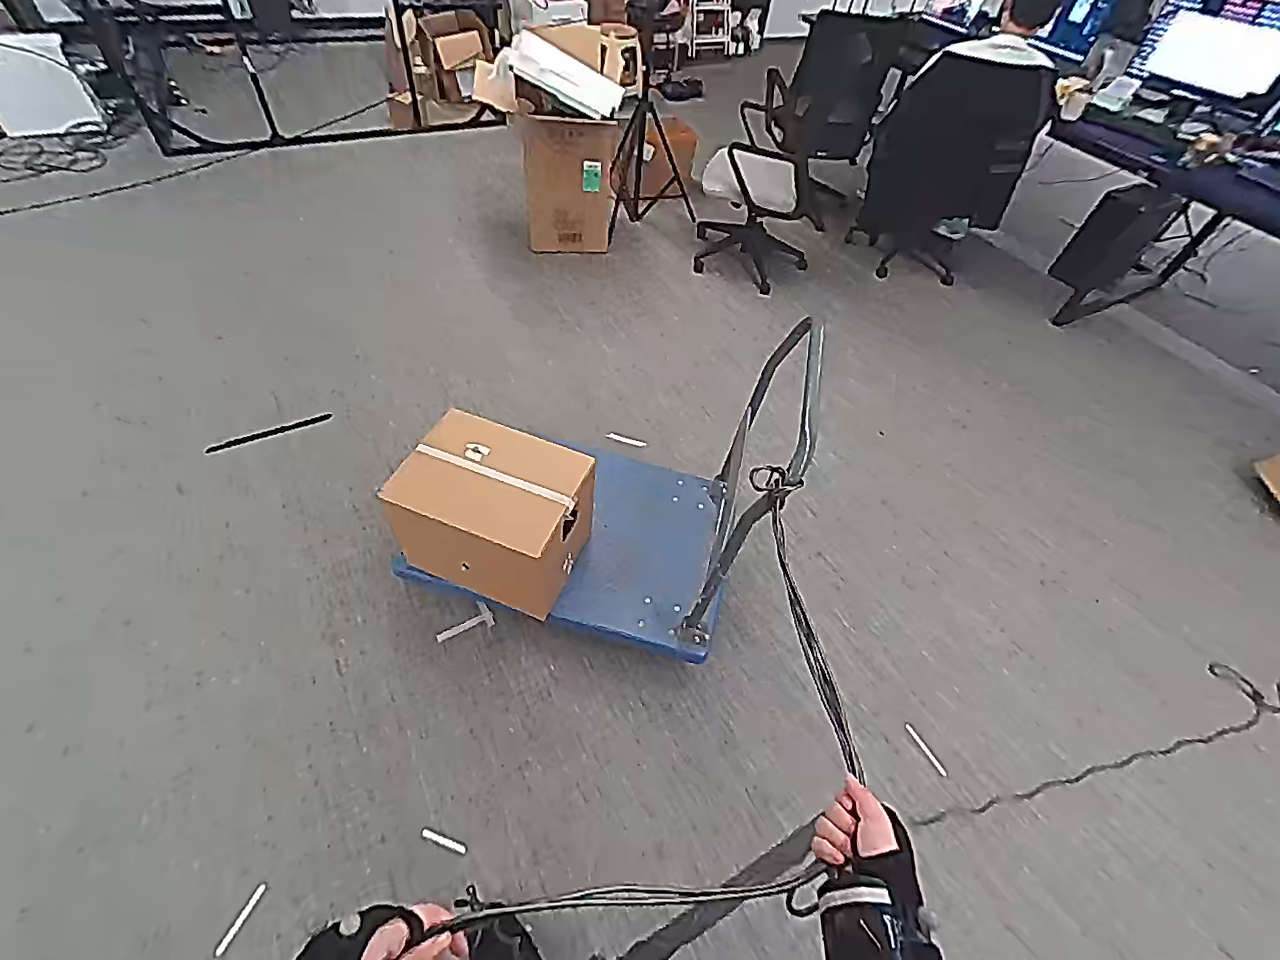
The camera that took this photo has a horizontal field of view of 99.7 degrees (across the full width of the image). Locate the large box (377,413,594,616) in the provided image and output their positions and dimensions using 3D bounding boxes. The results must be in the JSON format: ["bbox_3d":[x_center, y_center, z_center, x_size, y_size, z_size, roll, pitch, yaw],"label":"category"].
[{"bbox_3d":[-0.357,0.089,1.368,0.408,0.320,0.320,19,51,9],"label":"large box"}]
